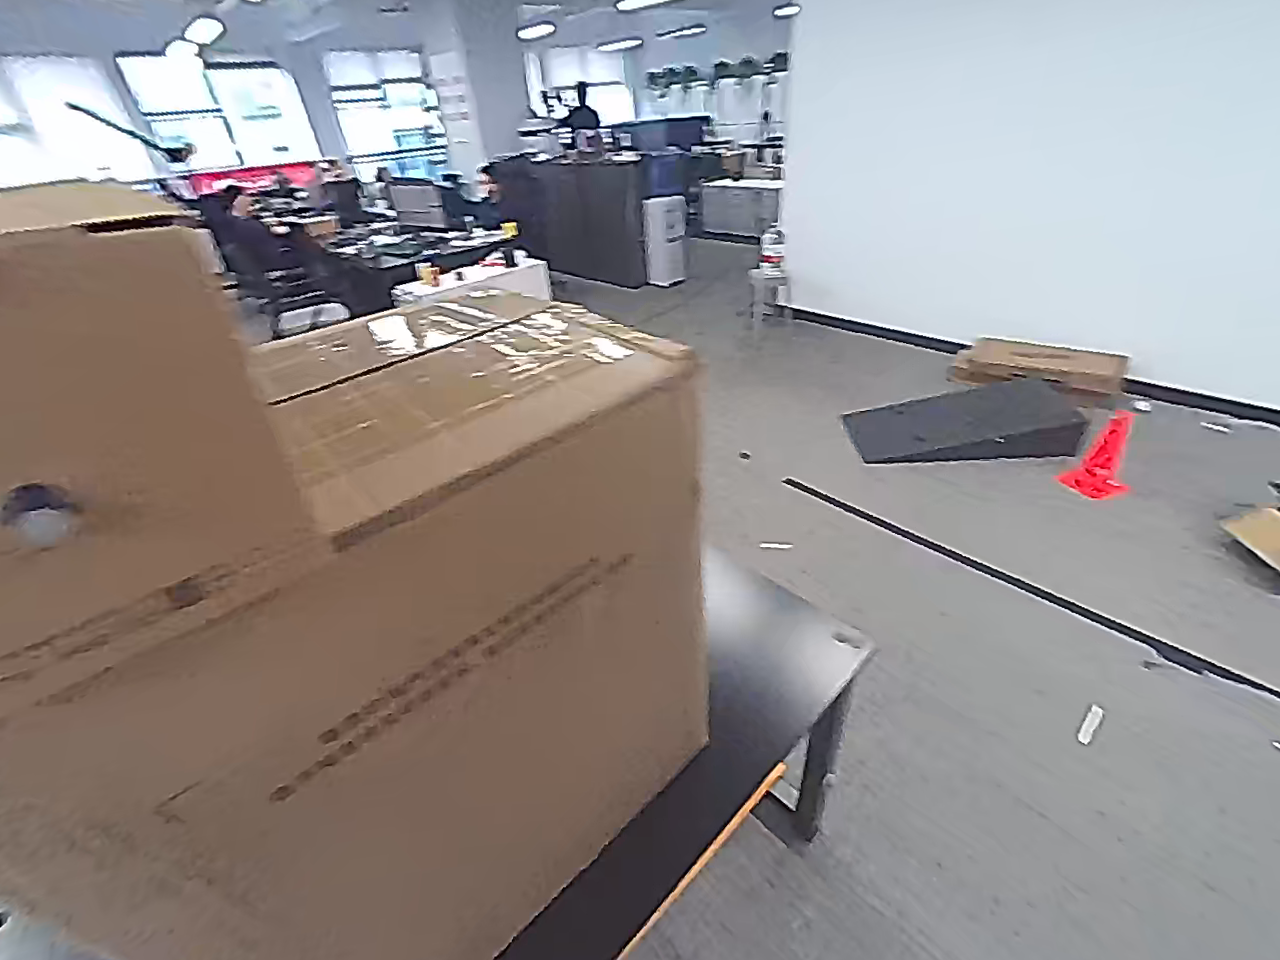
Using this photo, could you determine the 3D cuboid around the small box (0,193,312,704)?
[{"bbox_3d":[-0.285,-0.020,0.245,0.179,0.176,0.168,28,43,35],"label":"small box"}]
